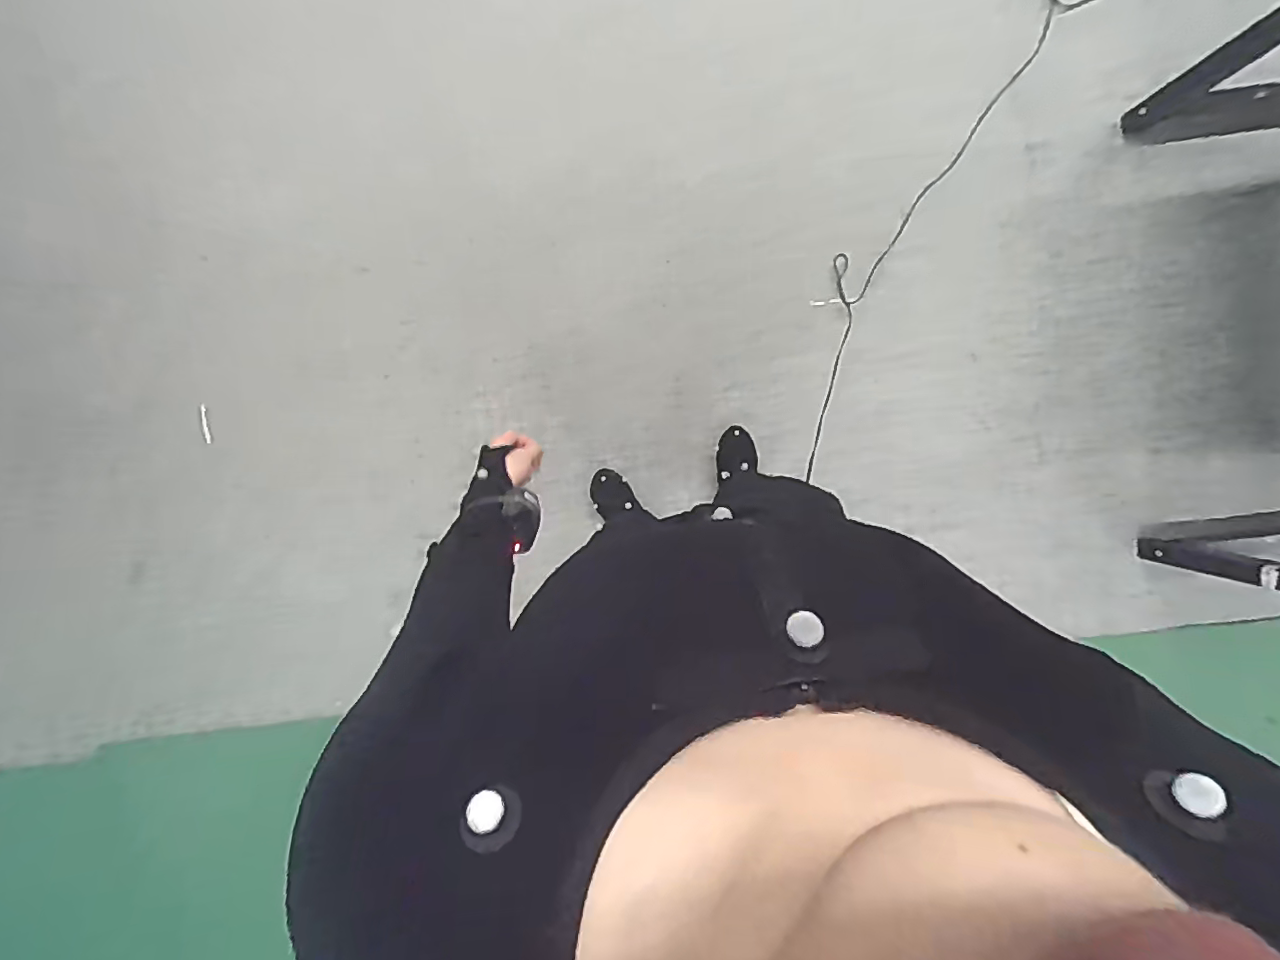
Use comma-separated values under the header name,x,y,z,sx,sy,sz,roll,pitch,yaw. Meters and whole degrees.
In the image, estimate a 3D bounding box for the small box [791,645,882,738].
name,x,y,z,sx,sy,sz,roll,pitch,yaw
small box,0.497,0.531,1.377,0.179,0.176,0.168,-4,92,0
